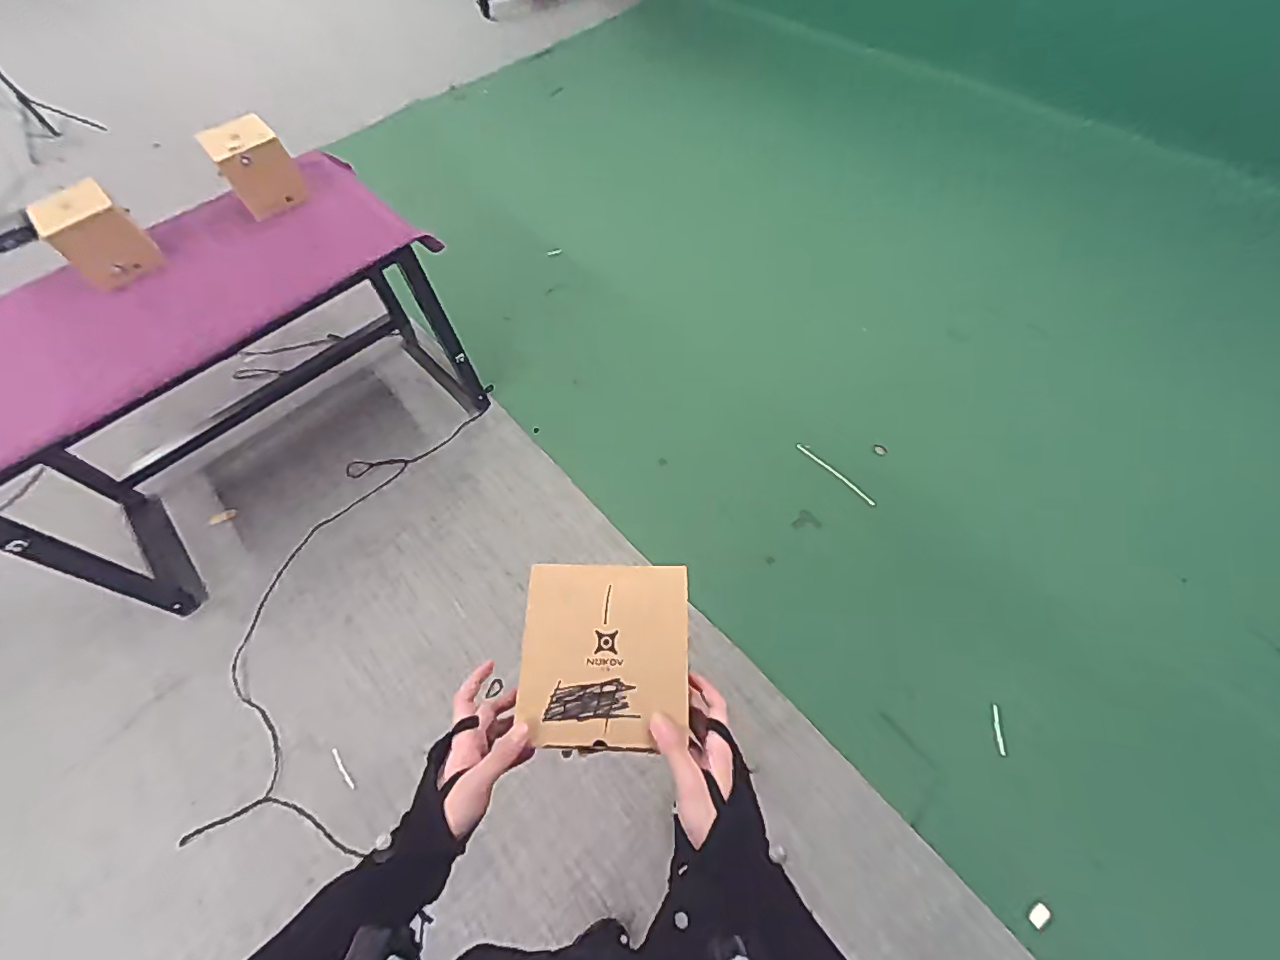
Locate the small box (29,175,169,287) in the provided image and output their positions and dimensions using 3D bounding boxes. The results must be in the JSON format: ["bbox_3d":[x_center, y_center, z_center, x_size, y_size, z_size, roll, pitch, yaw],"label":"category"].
[{"bbox_3d":[-1.358,-0.625,1.367,0.168,0.176,0.179,-40,65,-17],"label":"small box"}]

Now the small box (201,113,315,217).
[{"bbox_3d":[-1.039,-0.858,1.481,0.168,0.176,0.179,-37,63,-16],"label":"small box"}]

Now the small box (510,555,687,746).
[{"bbox_3d":[-0.034,0.192,0.599,0.168,0.176,0.179,1,65,2],"label":"small box"}]
